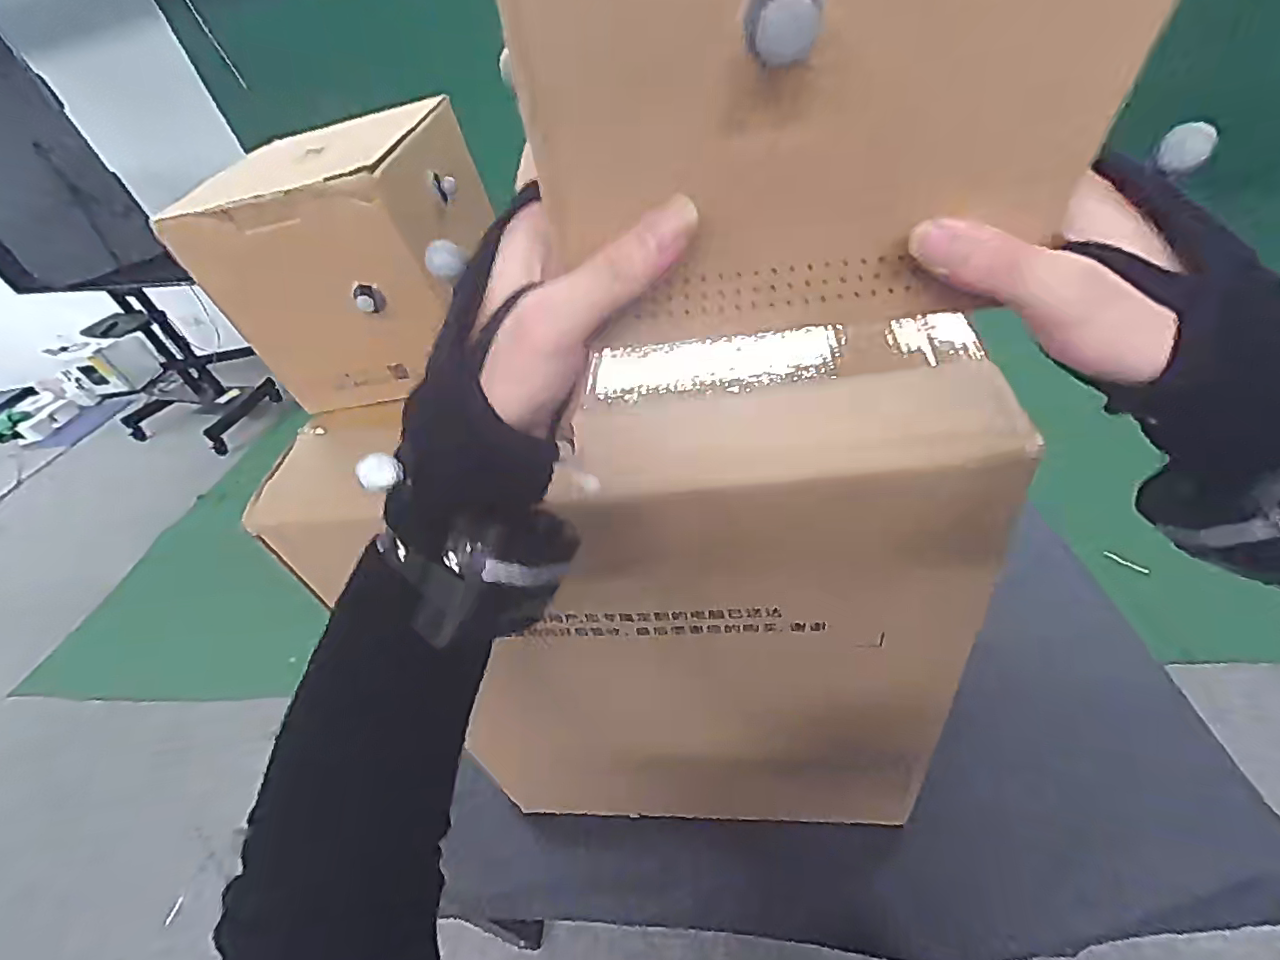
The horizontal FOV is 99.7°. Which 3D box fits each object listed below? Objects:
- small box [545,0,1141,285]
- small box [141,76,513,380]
[{"bbox_3d":[0.055,-0.188,0.196,0.179,0.176,0.168,-5,51,1],"label":"small box"},{"bbox_3d":[-0.218,-0.195,0.441,0.168,0.176,0.179,-6,45,8],"label":"small box"}]
